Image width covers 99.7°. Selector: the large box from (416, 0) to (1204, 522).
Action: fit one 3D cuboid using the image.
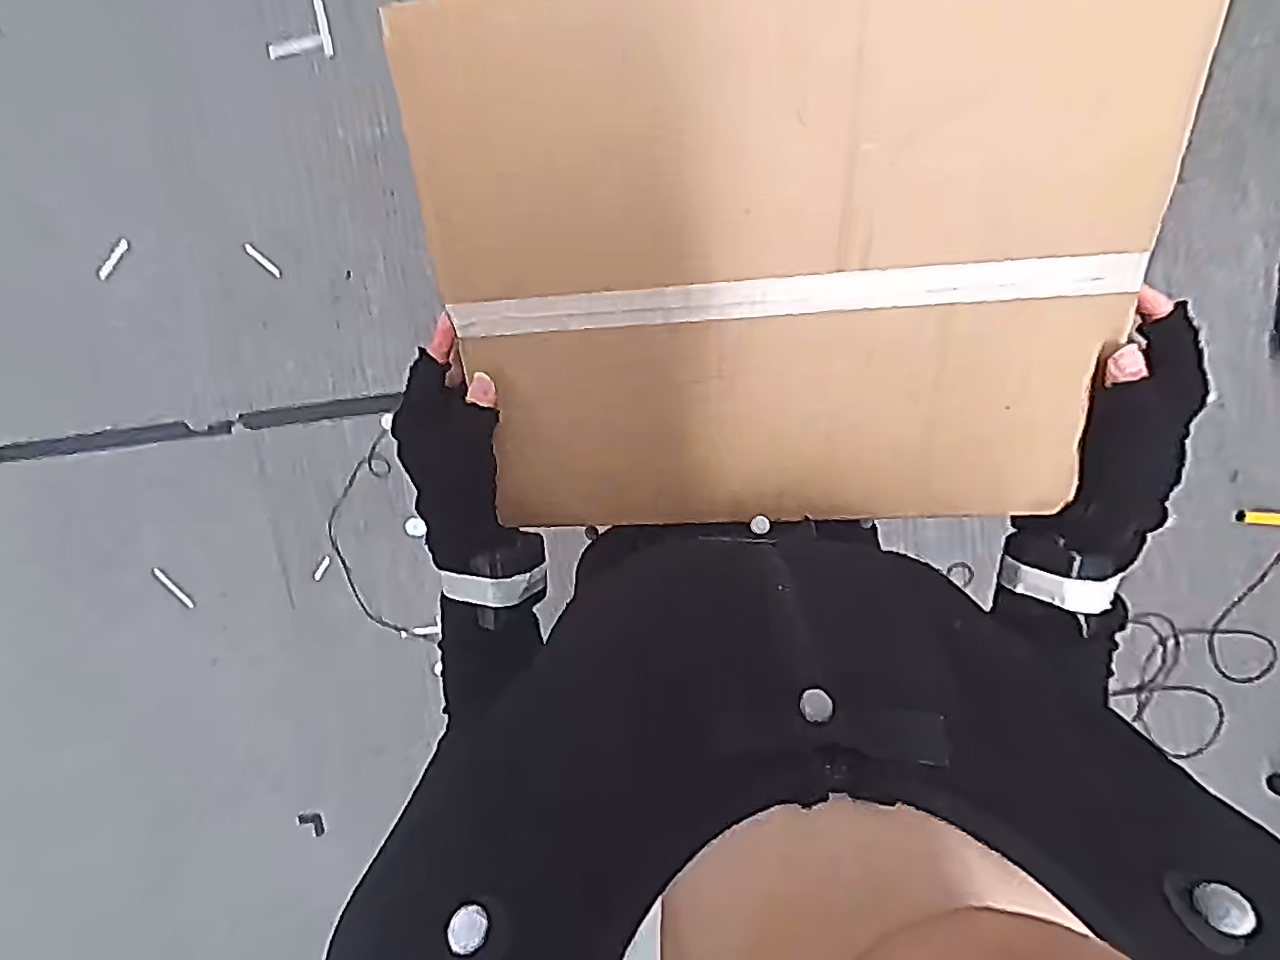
[{"bbox_3d":[0.095,-0.177,0.468,0.408,0.320,0.320,-2,117,6],"label":"large box"}]
